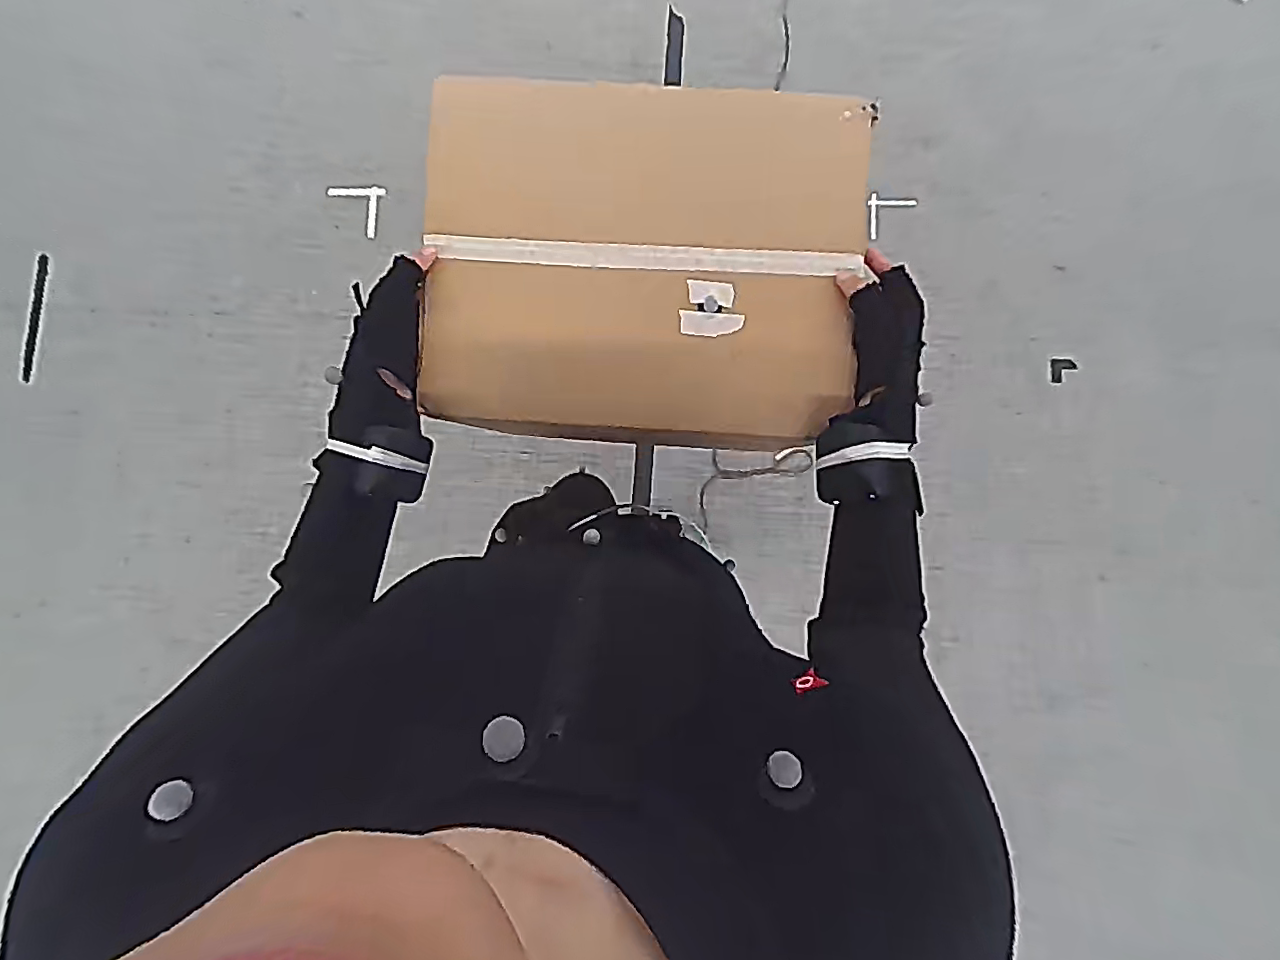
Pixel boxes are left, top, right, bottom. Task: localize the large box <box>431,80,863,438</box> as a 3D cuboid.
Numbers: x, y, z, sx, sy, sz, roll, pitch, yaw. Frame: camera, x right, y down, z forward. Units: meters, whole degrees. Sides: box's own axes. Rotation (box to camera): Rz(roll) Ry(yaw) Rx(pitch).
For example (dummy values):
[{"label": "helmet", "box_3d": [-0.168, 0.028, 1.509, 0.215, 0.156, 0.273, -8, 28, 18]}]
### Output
[{"label": "large box", "box_3d": [0.004, -0.220, 0.659, 0.408, 0.320, 0.320, 4, 92, 1]}]
